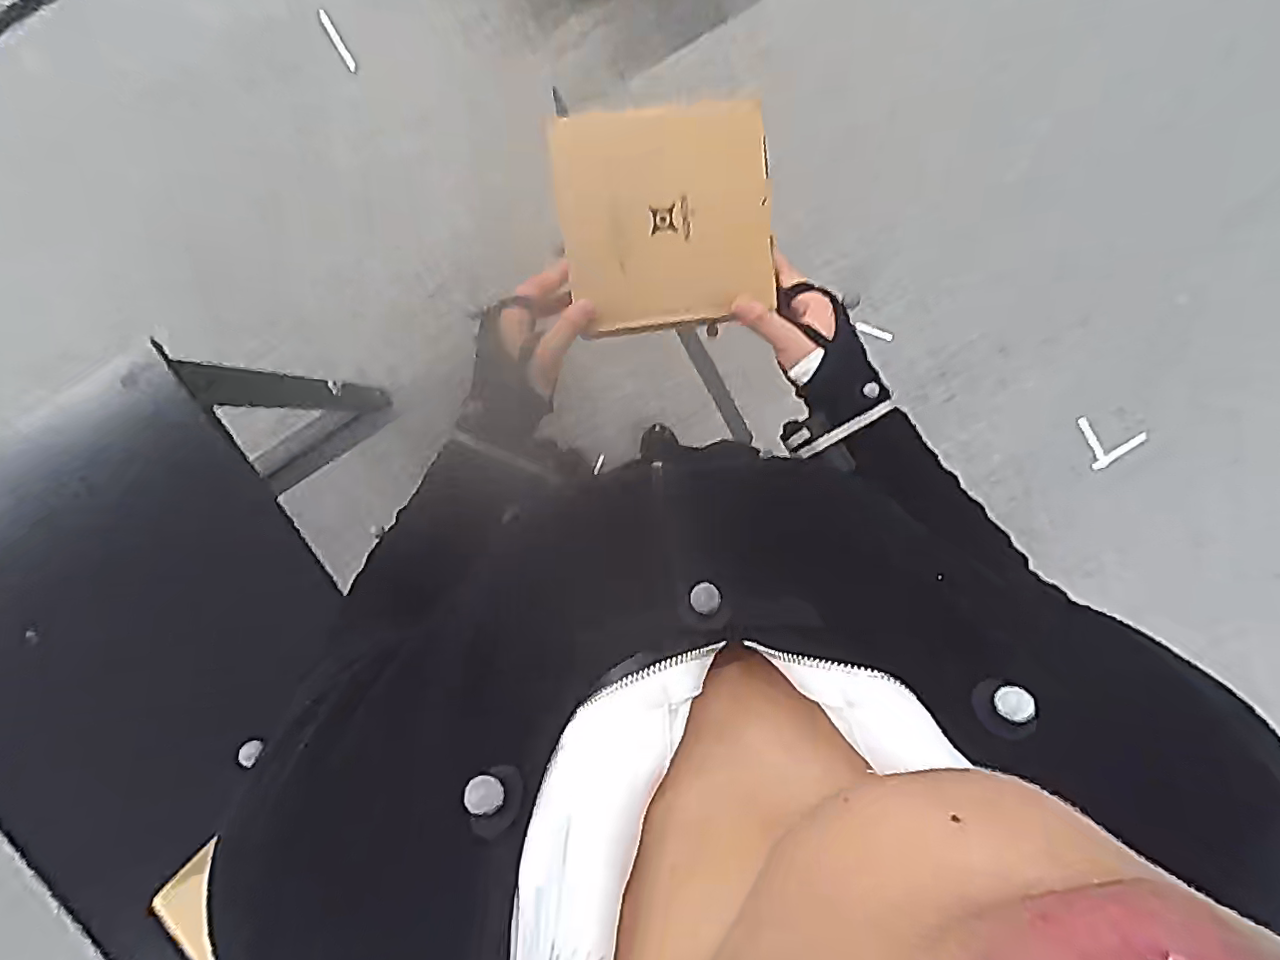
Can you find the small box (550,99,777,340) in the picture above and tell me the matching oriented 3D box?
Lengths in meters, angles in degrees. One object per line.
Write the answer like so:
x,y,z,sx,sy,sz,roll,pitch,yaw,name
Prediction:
0.019,-0.231,0.523,0.179,0.176,0.168,-8,102,-1,small box
